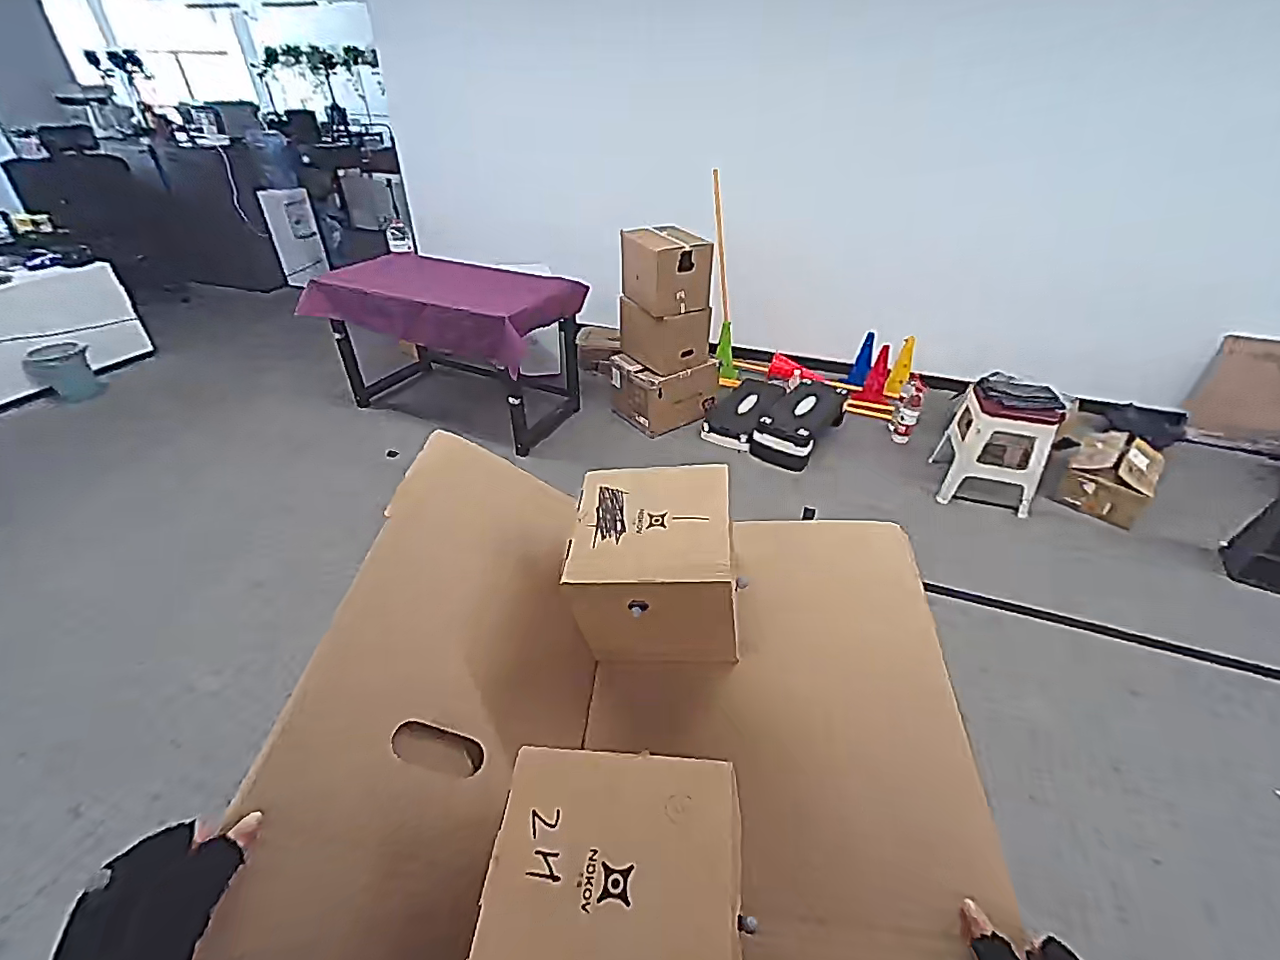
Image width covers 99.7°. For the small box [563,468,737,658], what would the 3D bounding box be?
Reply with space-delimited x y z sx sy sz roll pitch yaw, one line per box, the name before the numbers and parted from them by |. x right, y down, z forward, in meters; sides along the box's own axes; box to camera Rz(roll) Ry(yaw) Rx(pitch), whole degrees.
small box | 0.025 0.104 0.660 0.179 0.176 0.168 -3 46 11

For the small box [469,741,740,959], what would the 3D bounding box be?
small box | -0.009 0.333 0.440 0.179 0.176 0.168 -2 46 12
